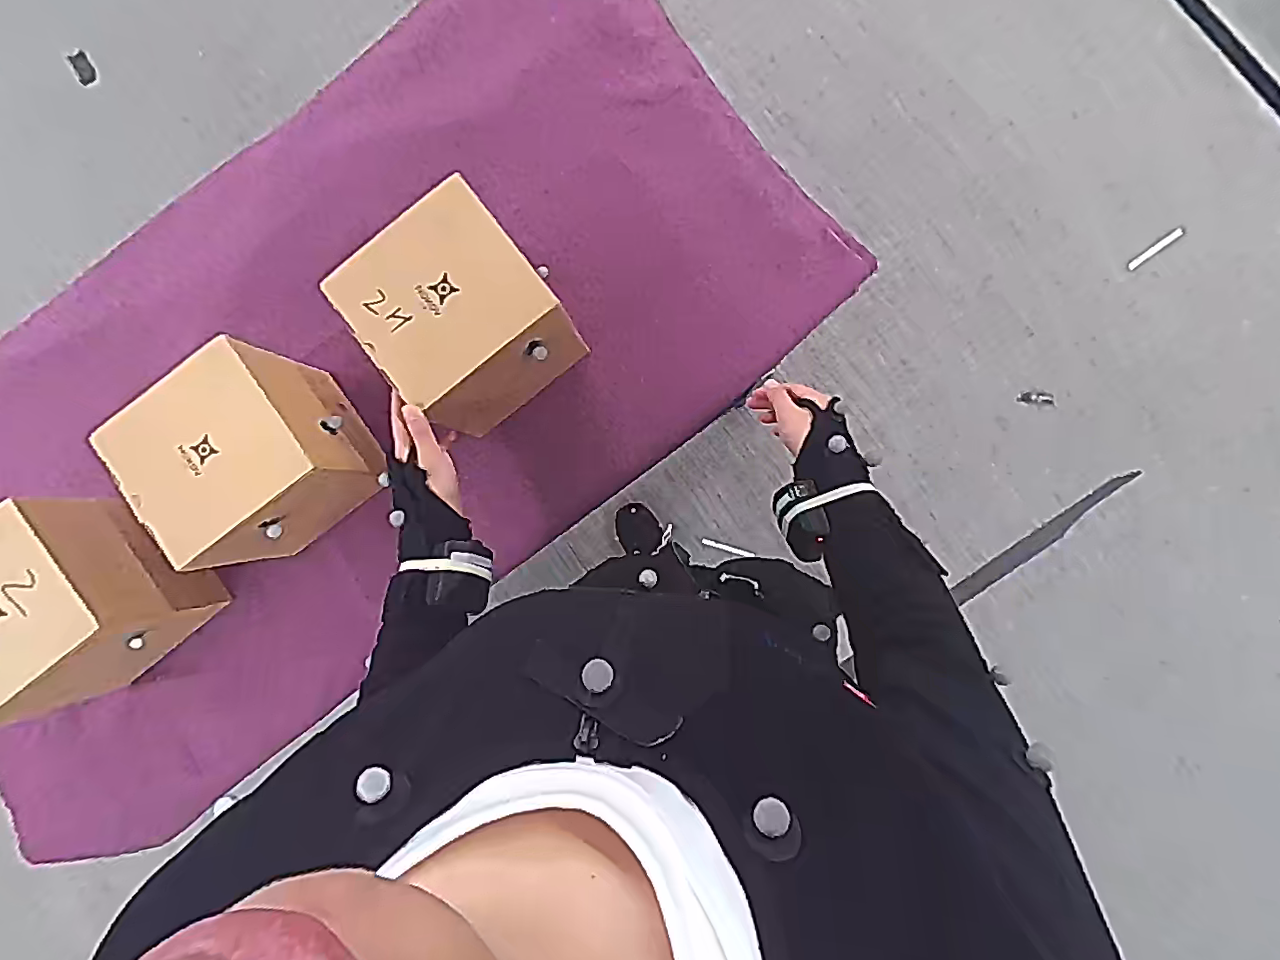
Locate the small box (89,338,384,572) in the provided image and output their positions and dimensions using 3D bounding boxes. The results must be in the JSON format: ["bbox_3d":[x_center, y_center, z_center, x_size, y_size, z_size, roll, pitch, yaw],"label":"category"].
[{"bbox_3d":[-0.421,-0.024,0.604,0.179,0.176,0.168,-37,86,3],"label":"small box"}]

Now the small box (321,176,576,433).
[{"bbox_3d":[-0.186,-0.172,0.588,0.179,0.176,0.168,-38,85,2],"label":"small box"}]
